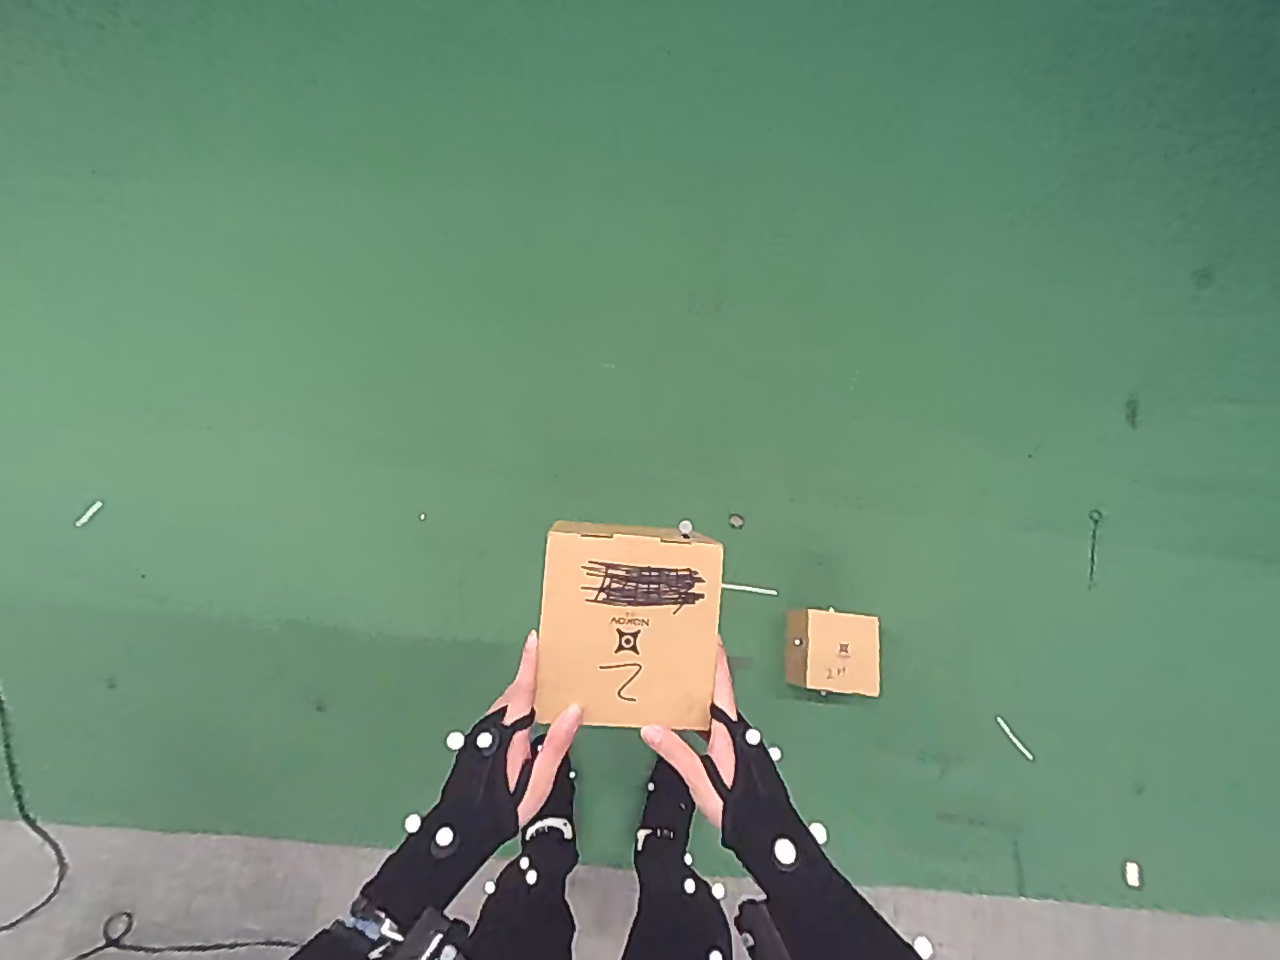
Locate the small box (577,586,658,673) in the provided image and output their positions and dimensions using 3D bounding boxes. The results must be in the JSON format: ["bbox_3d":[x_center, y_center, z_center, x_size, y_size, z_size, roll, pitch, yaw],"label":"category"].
[{"bbox_3d":[-0.052,0.355,1.285,0.168,0.176,0.179,6,72,-2],"label":"small box"}]

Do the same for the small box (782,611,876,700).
[{"bbox_3d":[0.447,0.418,1.297,0.168,0.176,0.179,8,73,-2],"label":"small box"}]
